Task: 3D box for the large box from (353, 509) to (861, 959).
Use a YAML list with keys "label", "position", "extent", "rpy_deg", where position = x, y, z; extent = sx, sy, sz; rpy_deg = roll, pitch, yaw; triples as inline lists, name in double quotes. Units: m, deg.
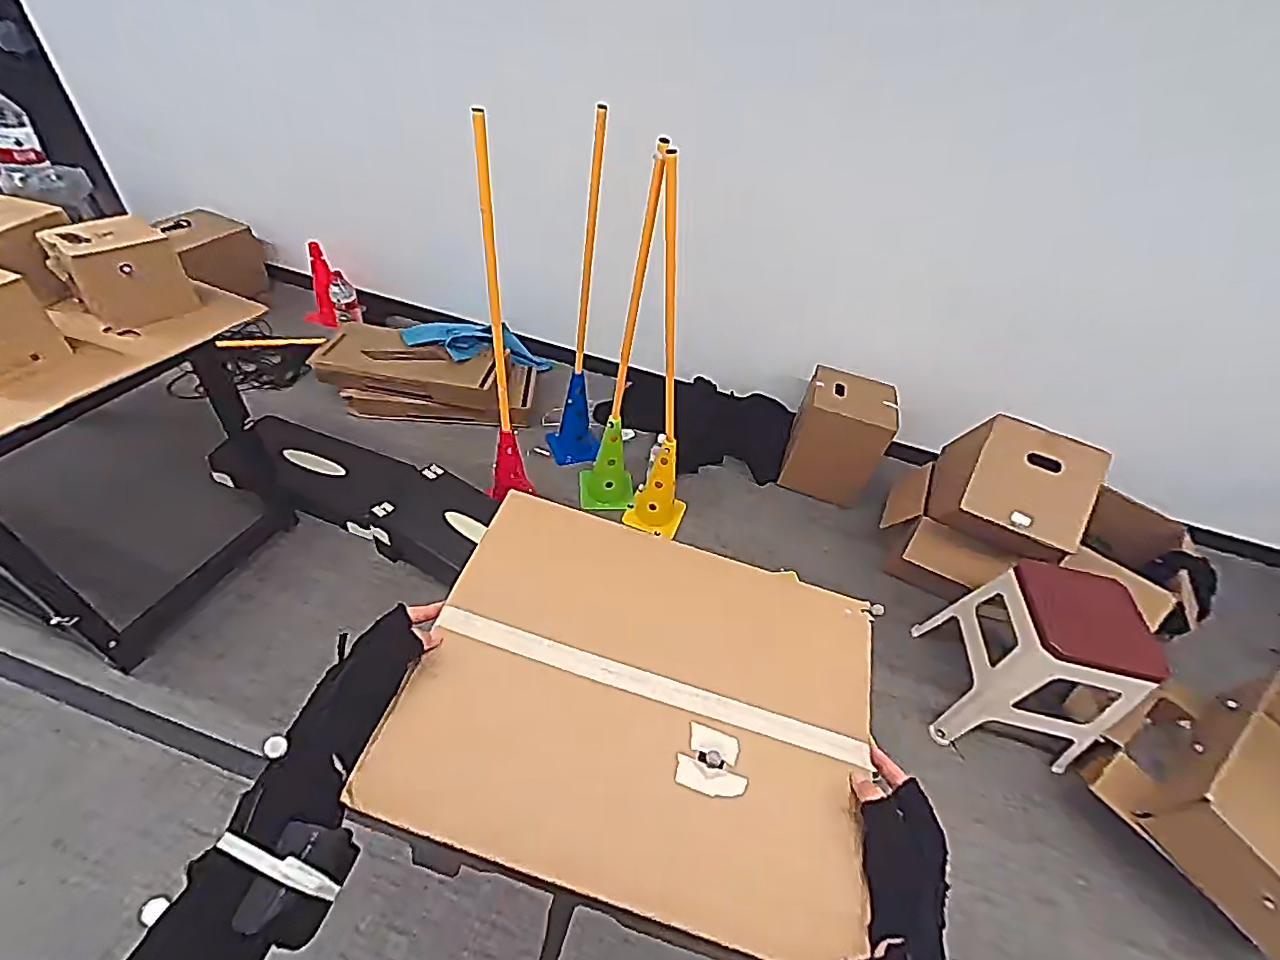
- label: "large box"
  position: [-0.017, 0.289, 0.608]
  extent: [0.408, 0.320, 0.320]
  rpy_deg: [18, 52, 3]
